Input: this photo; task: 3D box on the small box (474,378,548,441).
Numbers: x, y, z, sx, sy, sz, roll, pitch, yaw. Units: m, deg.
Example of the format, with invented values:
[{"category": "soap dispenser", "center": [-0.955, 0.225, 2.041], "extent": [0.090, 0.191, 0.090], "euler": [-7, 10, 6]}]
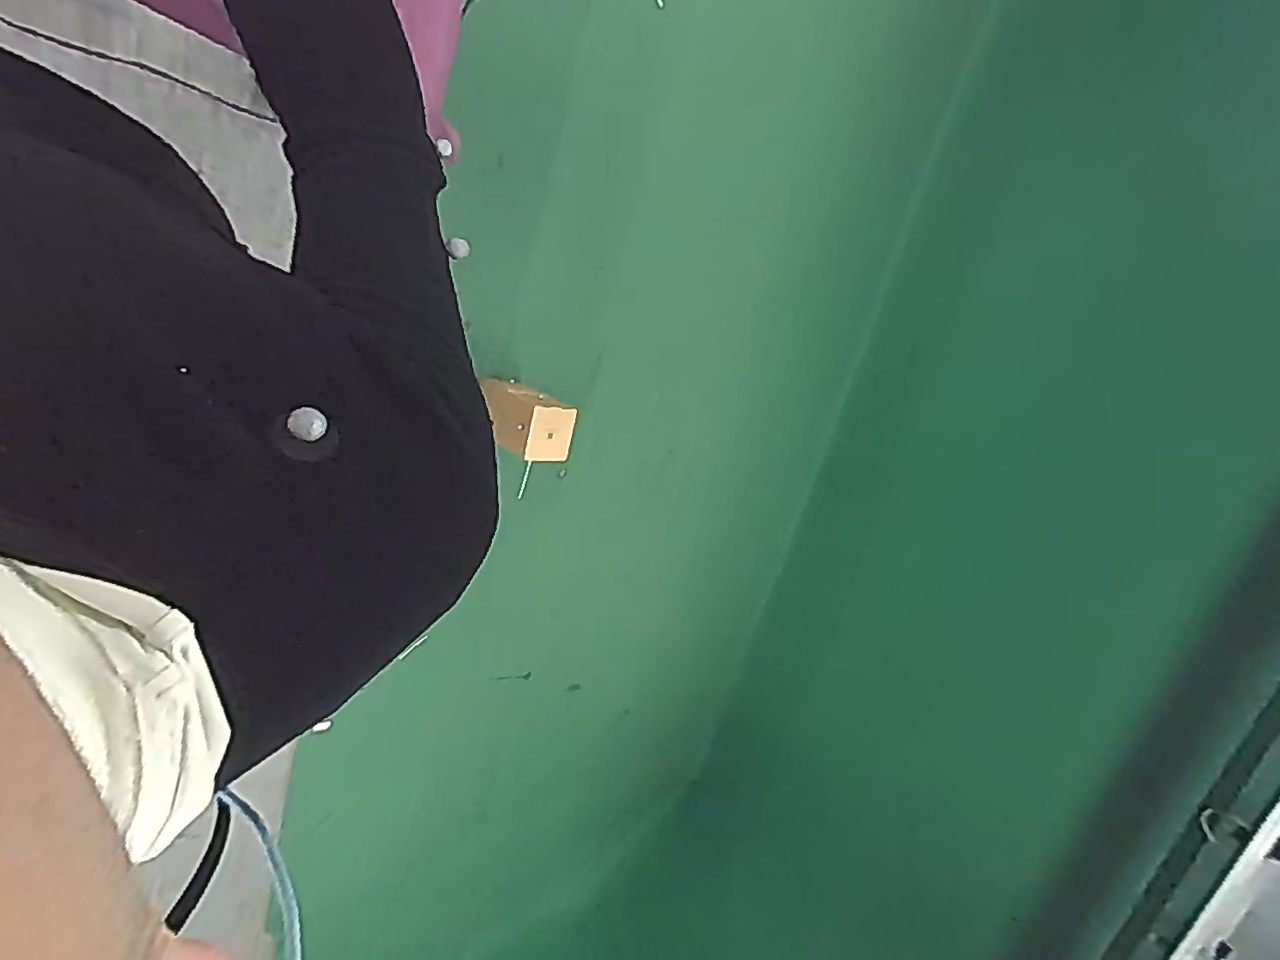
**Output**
[{"category": "small box", "center": [-0.444, -0.233, 1.835], "extent": [0.168, 0.176, 0.179], "euler": [3, 109, -47]}]

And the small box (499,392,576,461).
[{"category": "small box", "center": [-0.334, -0.169, 1.734], "extent": [0.168, 0.176, 0.179], "euler": [-2, 111, -46]}]
